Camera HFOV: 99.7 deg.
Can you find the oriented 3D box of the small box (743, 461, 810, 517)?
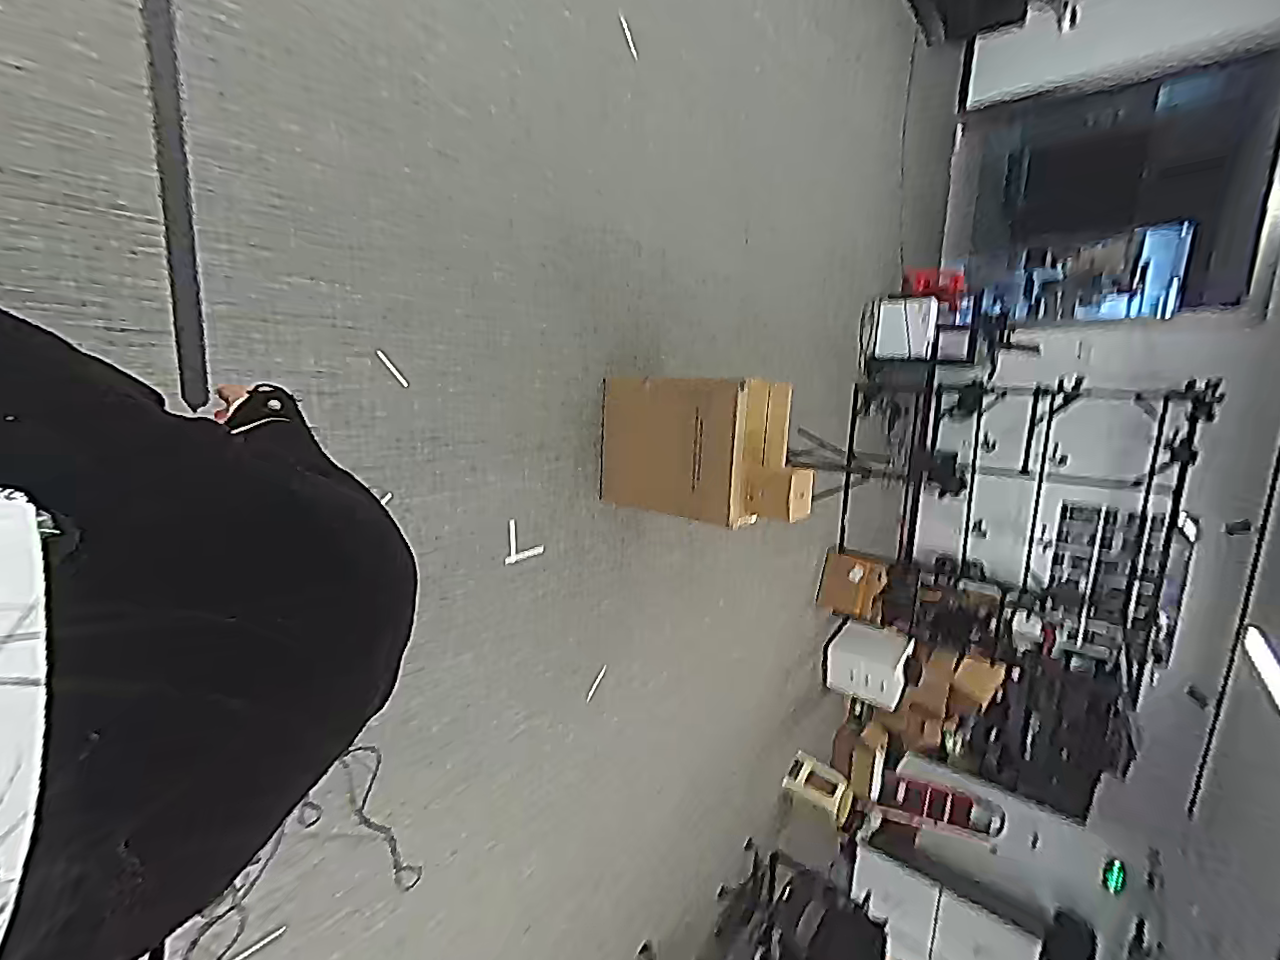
[{"bbox_3d":[0.488,0.026,1.928,0.179,0.176,0.168,-9,103,-48],"label":"small box"}]
